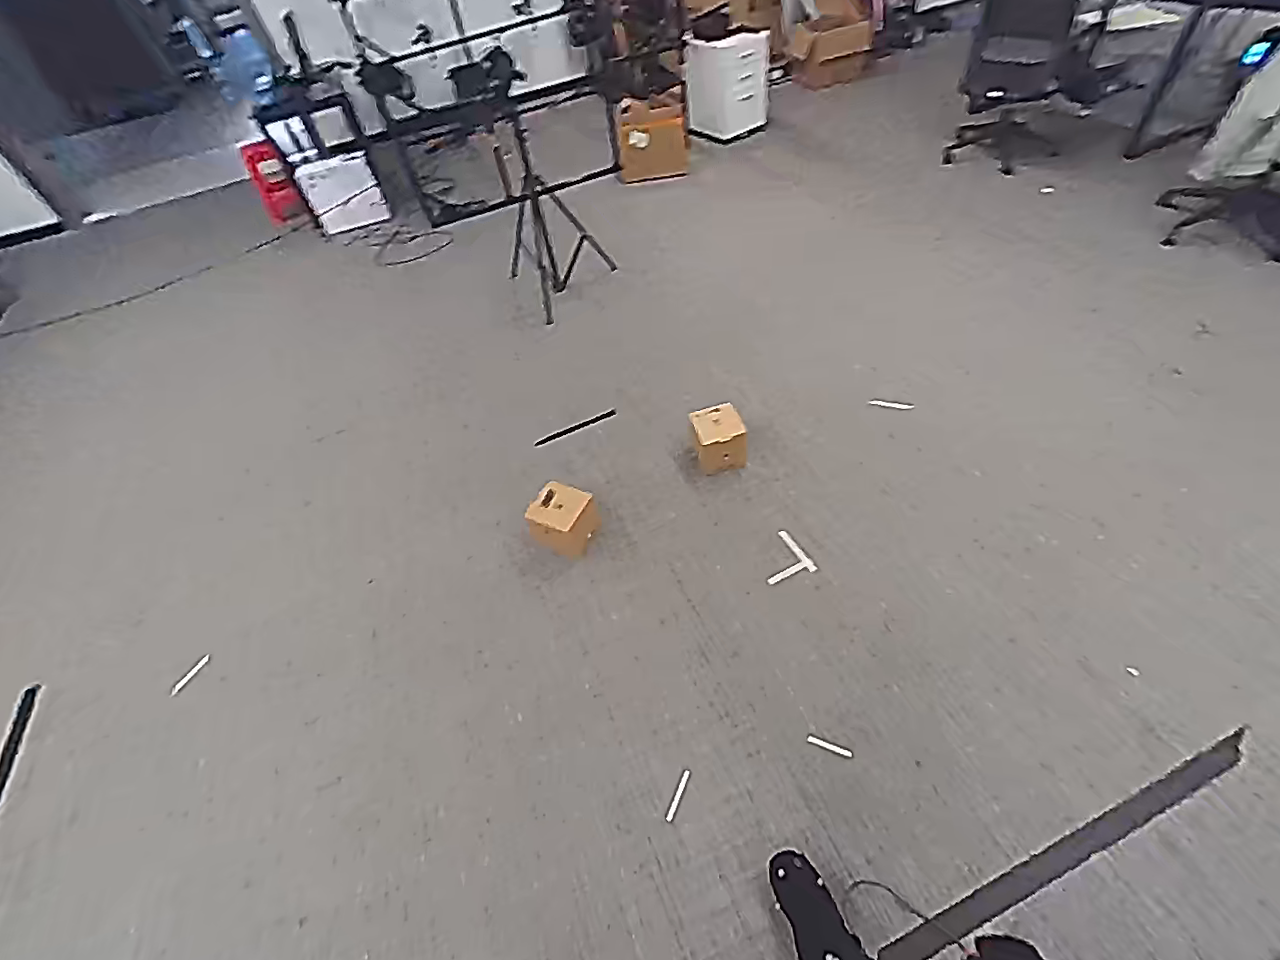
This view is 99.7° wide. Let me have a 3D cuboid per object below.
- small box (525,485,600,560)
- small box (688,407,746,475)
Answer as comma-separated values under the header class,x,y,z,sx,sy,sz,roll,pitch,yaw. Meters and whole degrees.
class,x,y,z,sx,sy,sz,roll,pitch,yaw
small box,-0.258,0.147,1.839,0.179,0.176,0.168,17,55,22
small box,0.284,-0.137,1.997,0.168,0.176,0.179,-16,49,-5
